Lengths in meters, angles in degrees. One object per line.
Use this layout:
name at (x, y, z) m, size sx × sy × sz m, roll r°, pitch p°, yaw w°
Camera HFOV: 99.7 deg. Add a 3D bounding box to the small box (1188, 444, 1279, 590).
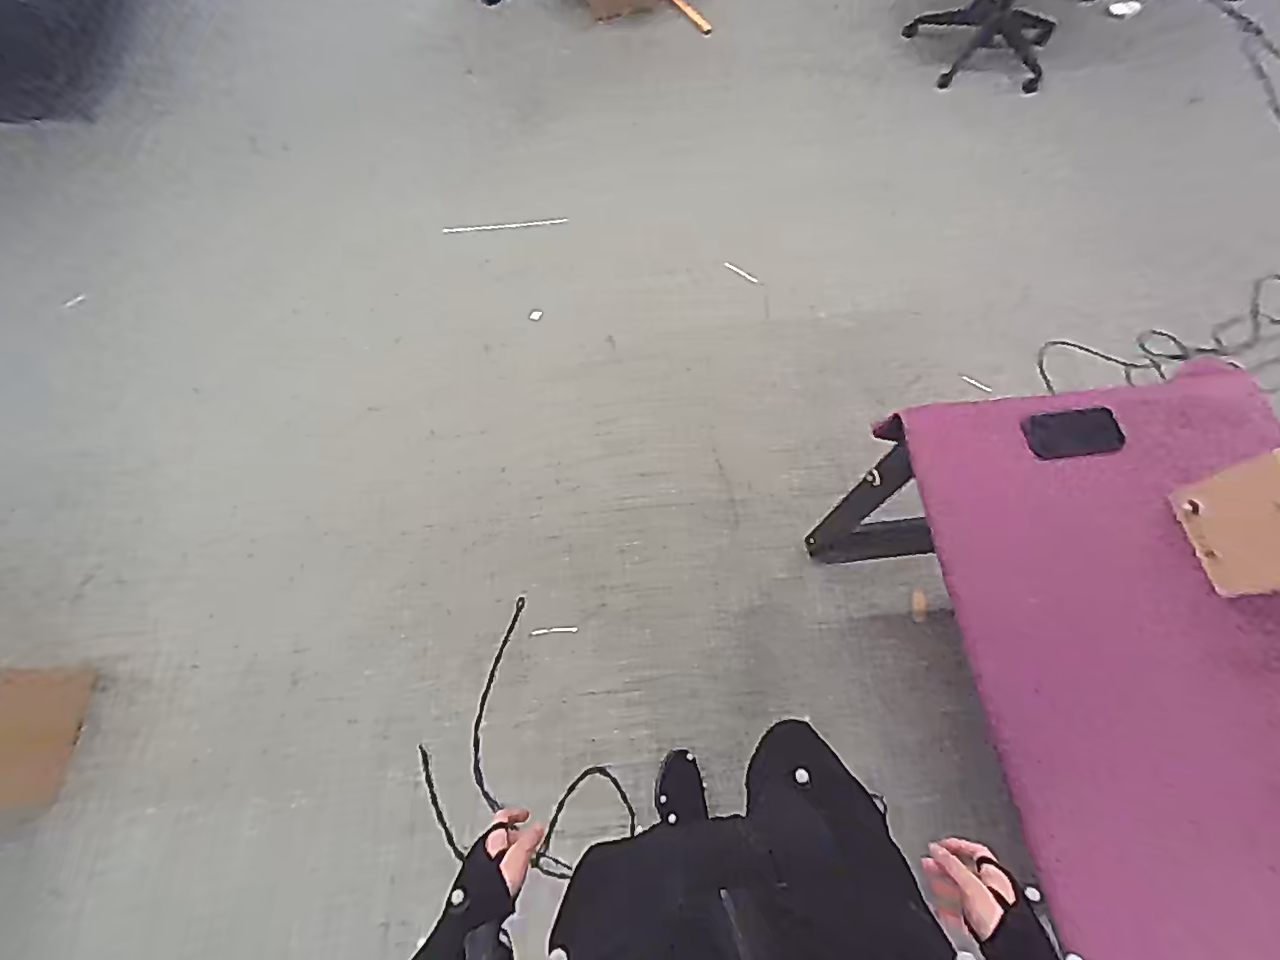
small box at (0.922, 0.048, 0.739) m, size 0.179 × 0.176 × 0.168 m, roll -6°, pitch 68°, yaw -1°
